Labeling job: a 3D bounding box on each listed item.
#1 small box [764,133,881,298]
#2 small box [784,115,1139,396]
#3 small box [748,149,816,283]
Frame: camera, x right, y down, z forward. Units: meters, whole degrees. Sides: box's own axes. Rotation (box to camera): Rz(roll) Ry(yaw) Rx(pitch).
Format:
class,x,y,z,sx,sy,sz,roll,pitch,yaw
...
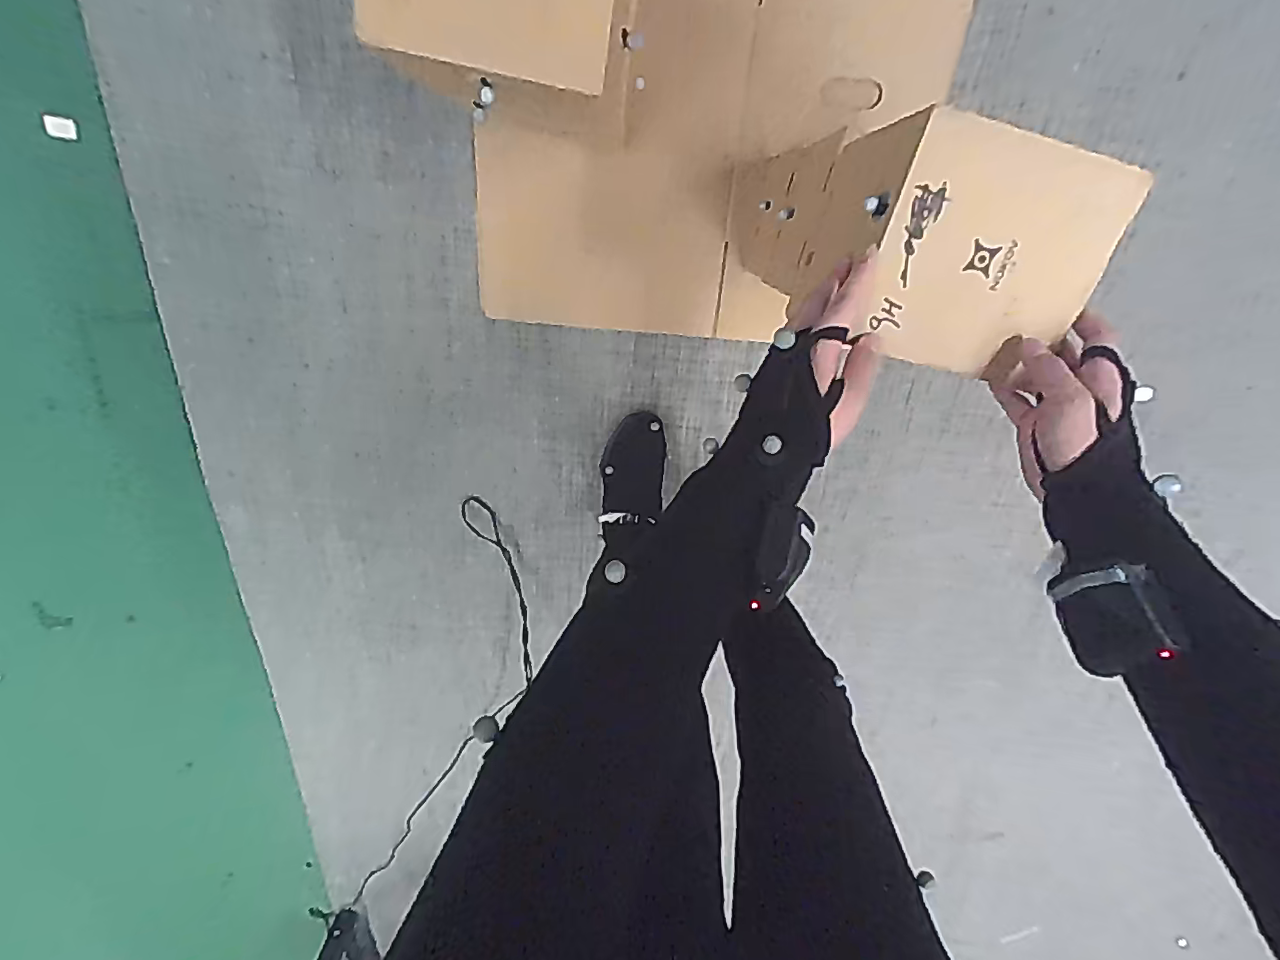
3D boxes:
class,x,y,z,sx,sy,sz,roll,pitch,yaw
small box,0.266,-0.287,0.644,0.179,0.176,0.168,13,115,-4
small box,0.253,-0.191,0.479,0.179,0.176,0.168,12,112,-7
small box,0.271,-0.366,0.790,0.179,0.176,0.168,10,115,-2
